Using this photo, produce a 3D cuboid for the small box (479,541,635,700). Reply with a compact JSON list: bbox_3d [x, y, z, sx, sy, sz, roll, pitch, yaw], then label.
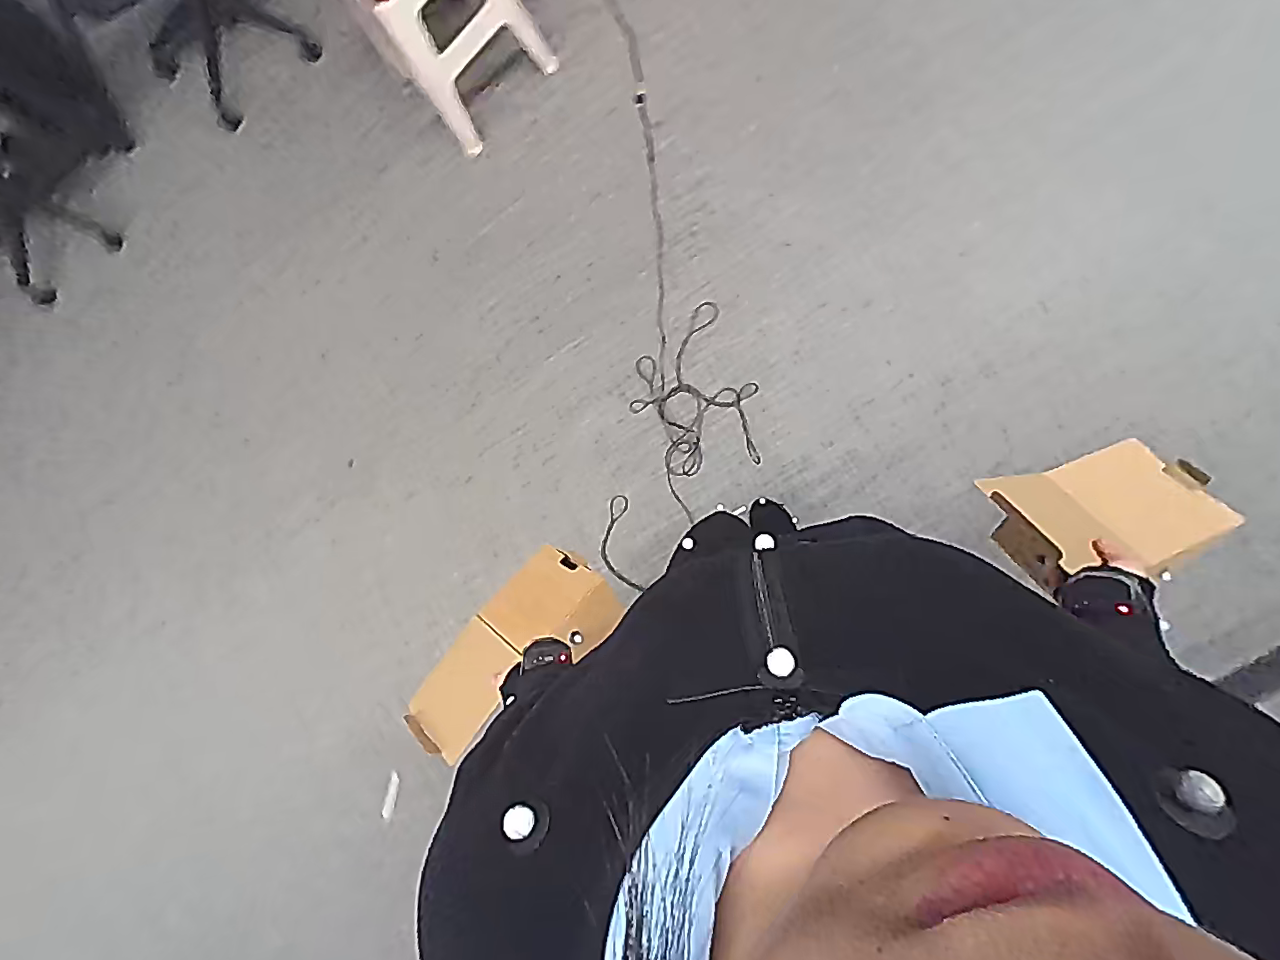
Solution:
[{"bbox_3d":[-0.137,0.245,0.943,0.168,0.176,0.179,21,58,44],"label":"small box"}]
